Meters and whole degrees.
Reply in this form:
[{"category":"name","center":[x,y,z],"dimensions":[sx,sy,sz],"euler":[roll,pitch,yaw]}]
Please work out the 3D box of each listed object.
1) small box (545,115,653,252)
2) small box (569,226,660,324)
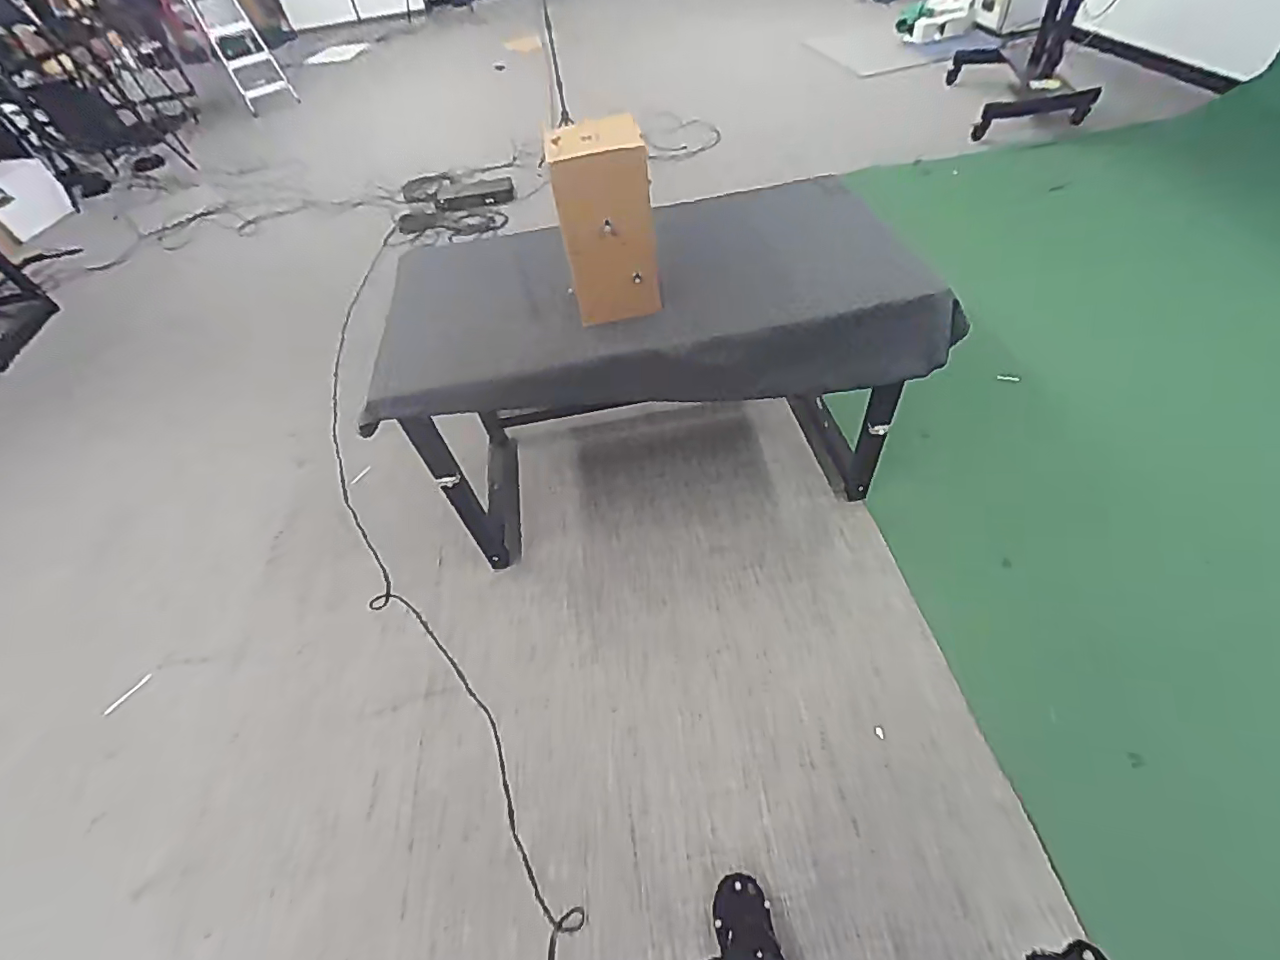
[{"category":"small box","center":[-0.074,-0.565,1.038],"dimensions":[0.179,0.176,0.168],"euler":[-13,51,-2]},{"category":"small box","center":[-0.056,-0.463,1.162],"dimensions":[0.179,0.176,0.168],"euler":[-12,49,0]}]
